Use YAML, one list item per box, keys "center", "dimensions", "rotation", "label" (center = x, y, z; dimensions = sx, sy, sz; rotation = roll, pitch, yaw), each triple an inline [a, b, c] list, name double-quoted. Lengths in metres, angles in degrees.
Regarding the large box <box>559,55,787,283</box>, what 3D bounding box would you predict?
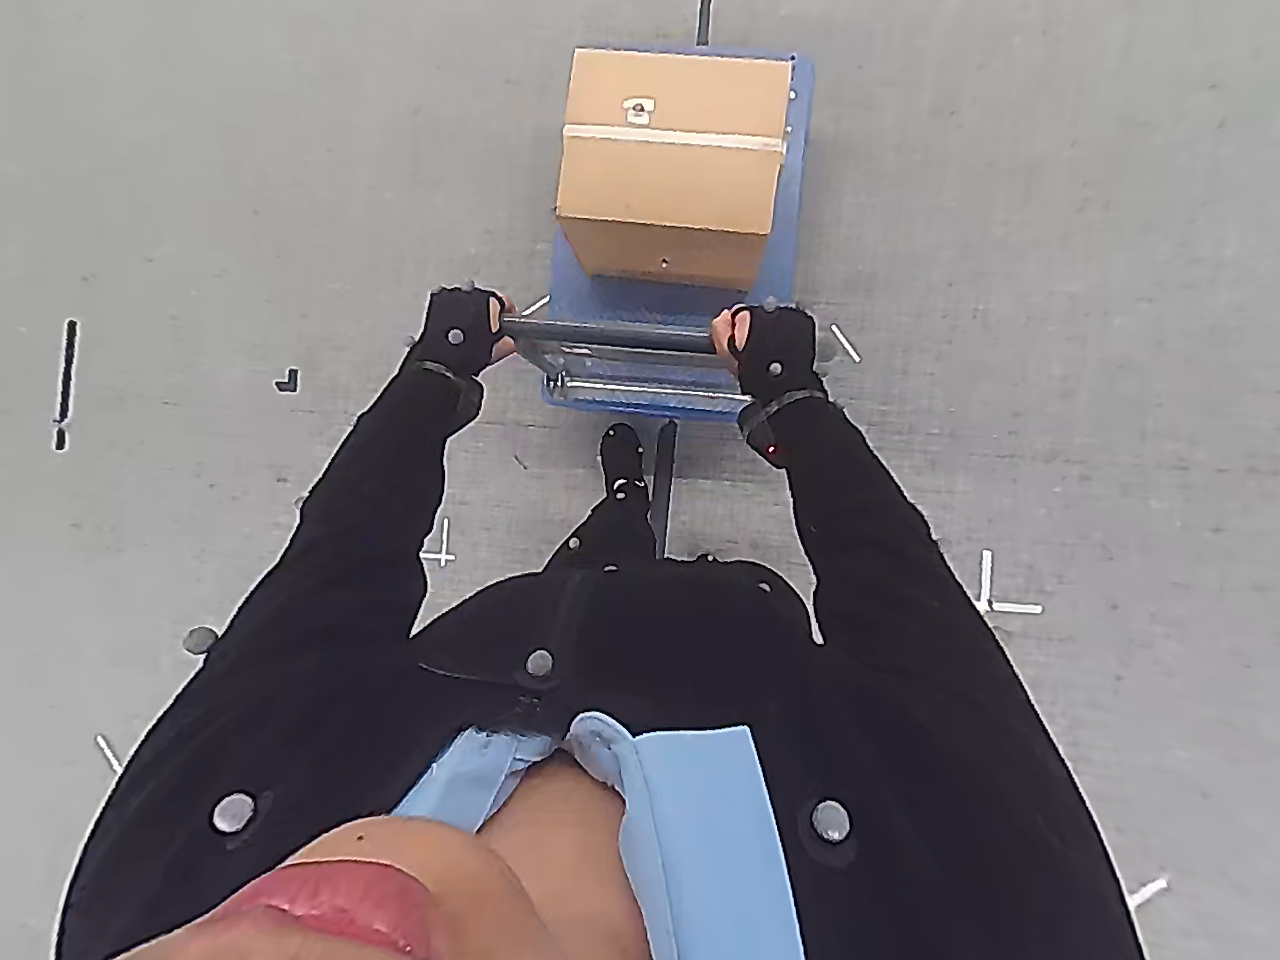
- center: [0.074, -0.635, 1.155]
  dimensions: [0.408, 0.320, 0.320]
  rotation: [7, 90, 6]
  label: "large box"
